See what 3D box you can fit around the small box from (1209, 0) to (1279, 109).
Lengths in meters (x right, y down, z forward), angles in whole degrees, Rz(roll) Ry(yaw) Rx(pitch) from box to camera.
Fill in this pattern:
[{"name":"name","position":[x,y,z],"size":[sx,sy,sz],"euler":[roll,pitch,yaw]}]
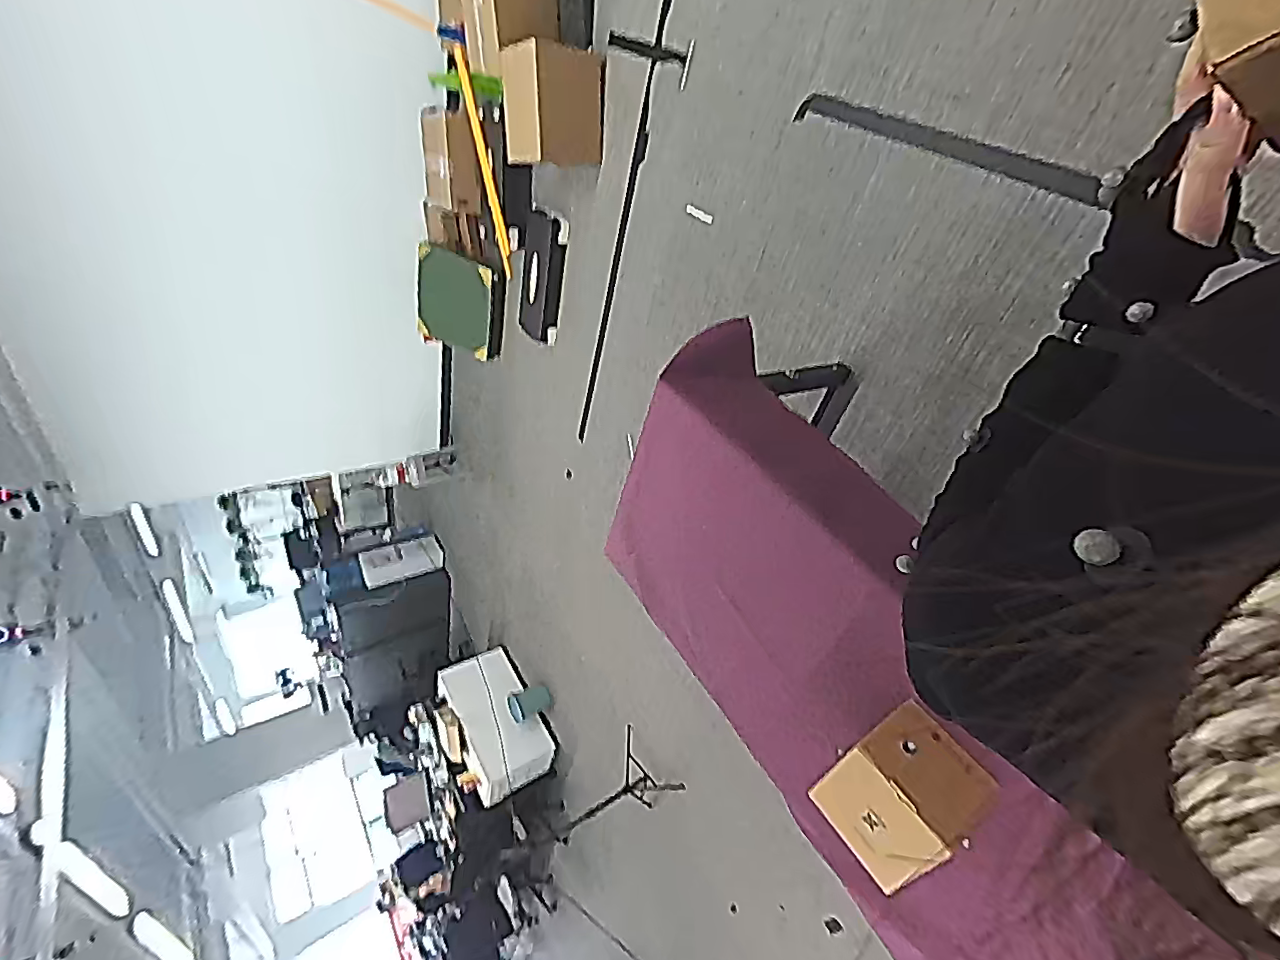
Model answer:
[{"name":"small box","position":[0.341,-0.282,0.206],"size":[0.168,0.176,0.179],"euler":[-10,90,57]}]

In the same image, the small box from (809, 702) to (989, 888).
[{"name":"small box","position":[0.412,0.490,0.859],"size":[0.168,0.176,0.179],"euler":[48,137,34]}]
